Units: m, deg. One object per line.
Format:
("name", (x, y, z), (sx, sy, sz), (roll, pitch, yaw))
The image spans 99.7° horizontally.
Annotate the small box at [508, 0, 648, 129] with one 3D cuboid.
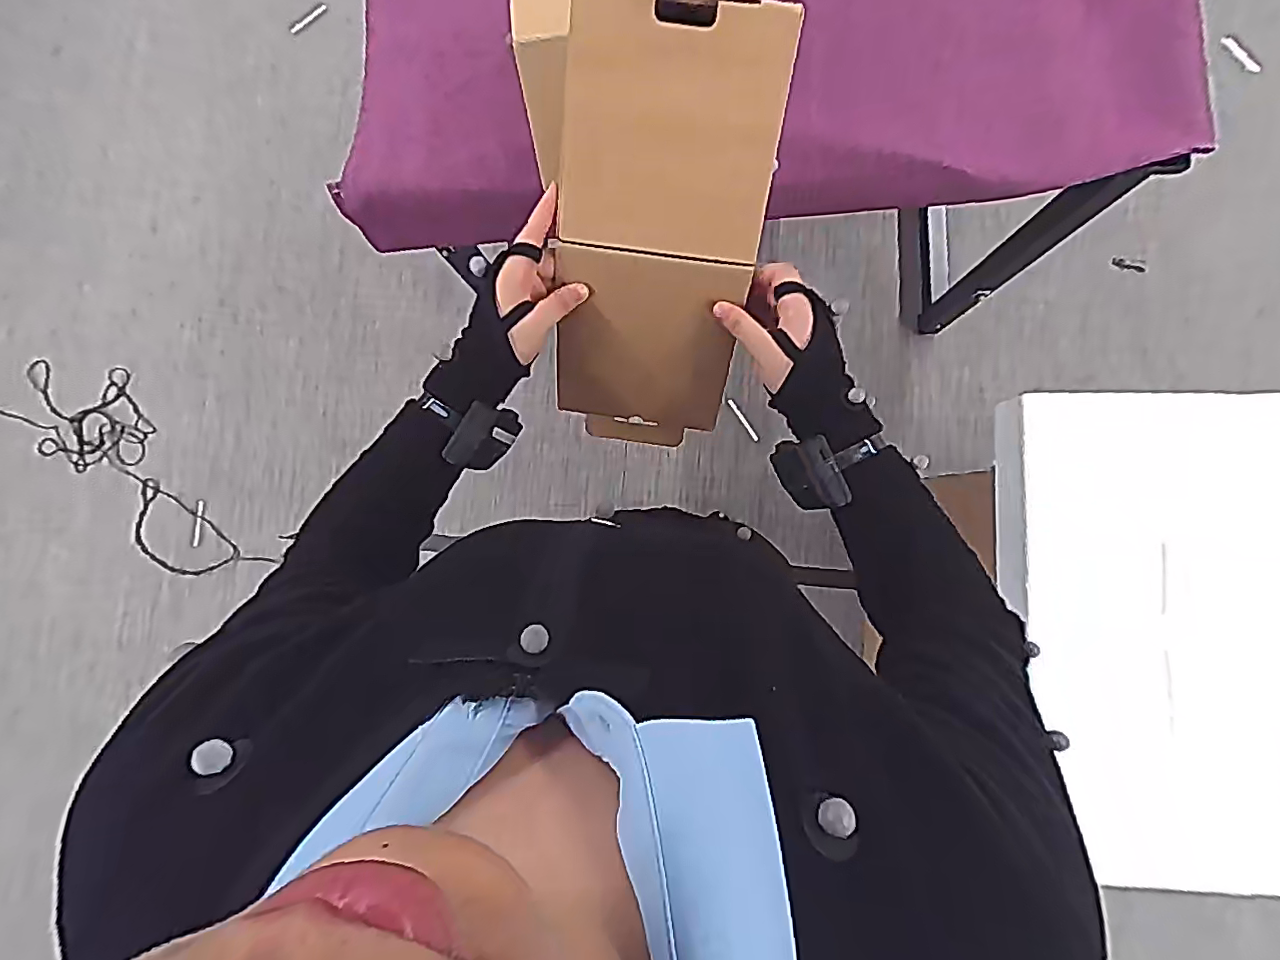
("small box", (-0.079, -0.626, 0.755), (0.168, 0.176, 0.179), (-5, 84, 4))
